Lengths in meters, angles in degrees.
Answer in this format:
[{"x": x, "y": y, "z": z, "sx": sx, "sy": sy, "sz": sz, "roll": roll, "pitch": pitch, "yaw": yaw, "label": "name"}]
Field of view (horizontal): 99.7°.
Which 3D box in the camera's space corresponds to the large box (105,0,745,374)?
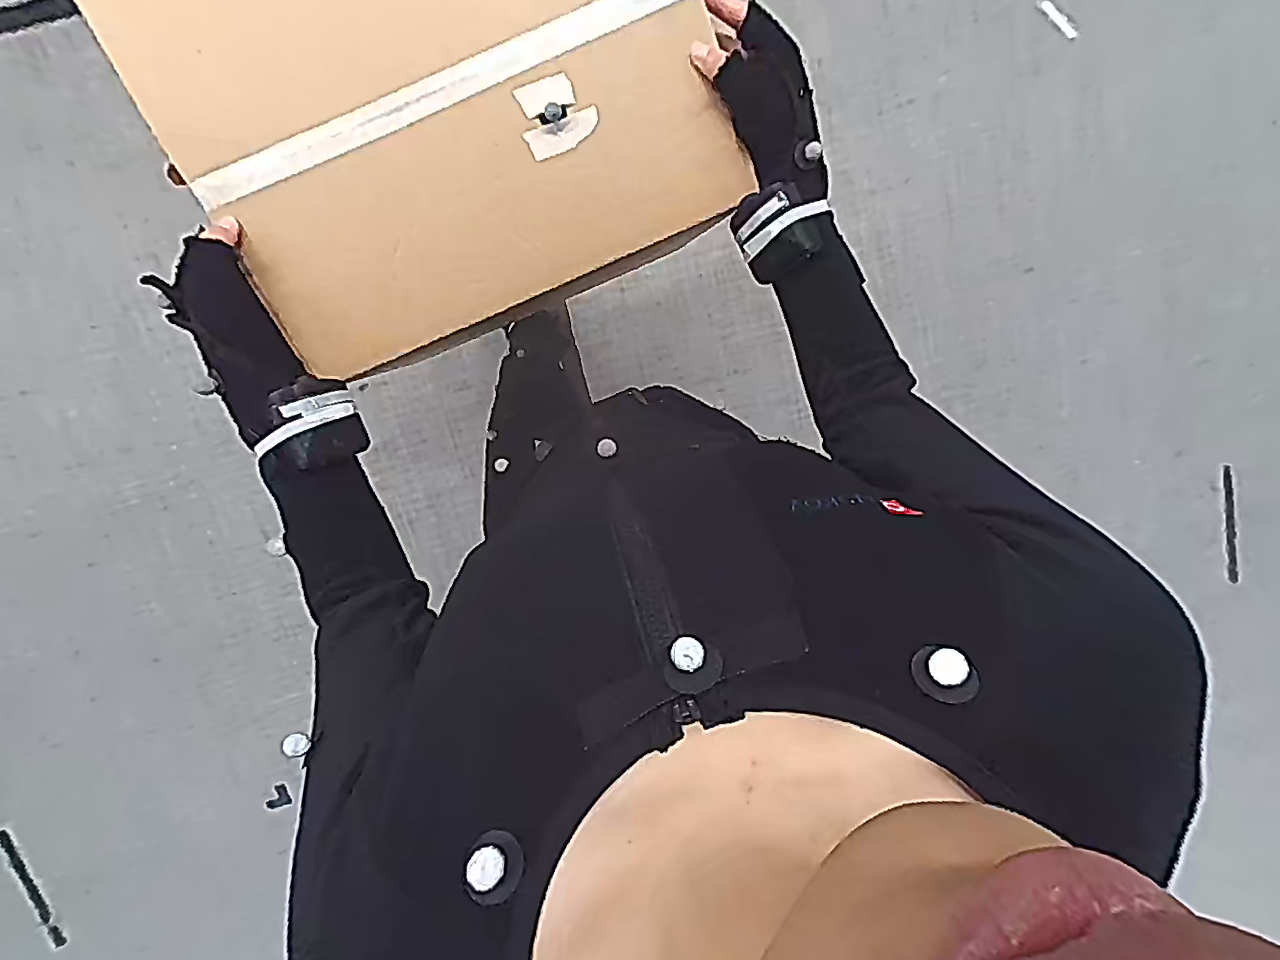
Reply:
[{"x": -0.165, "y": -0.342, "z": 0.567, "sx": 0.408, "sy": 0.320, "sz": 0.320, "roll": -25, "pitch": 108, "yaw": -1, "label": "large box"}]
